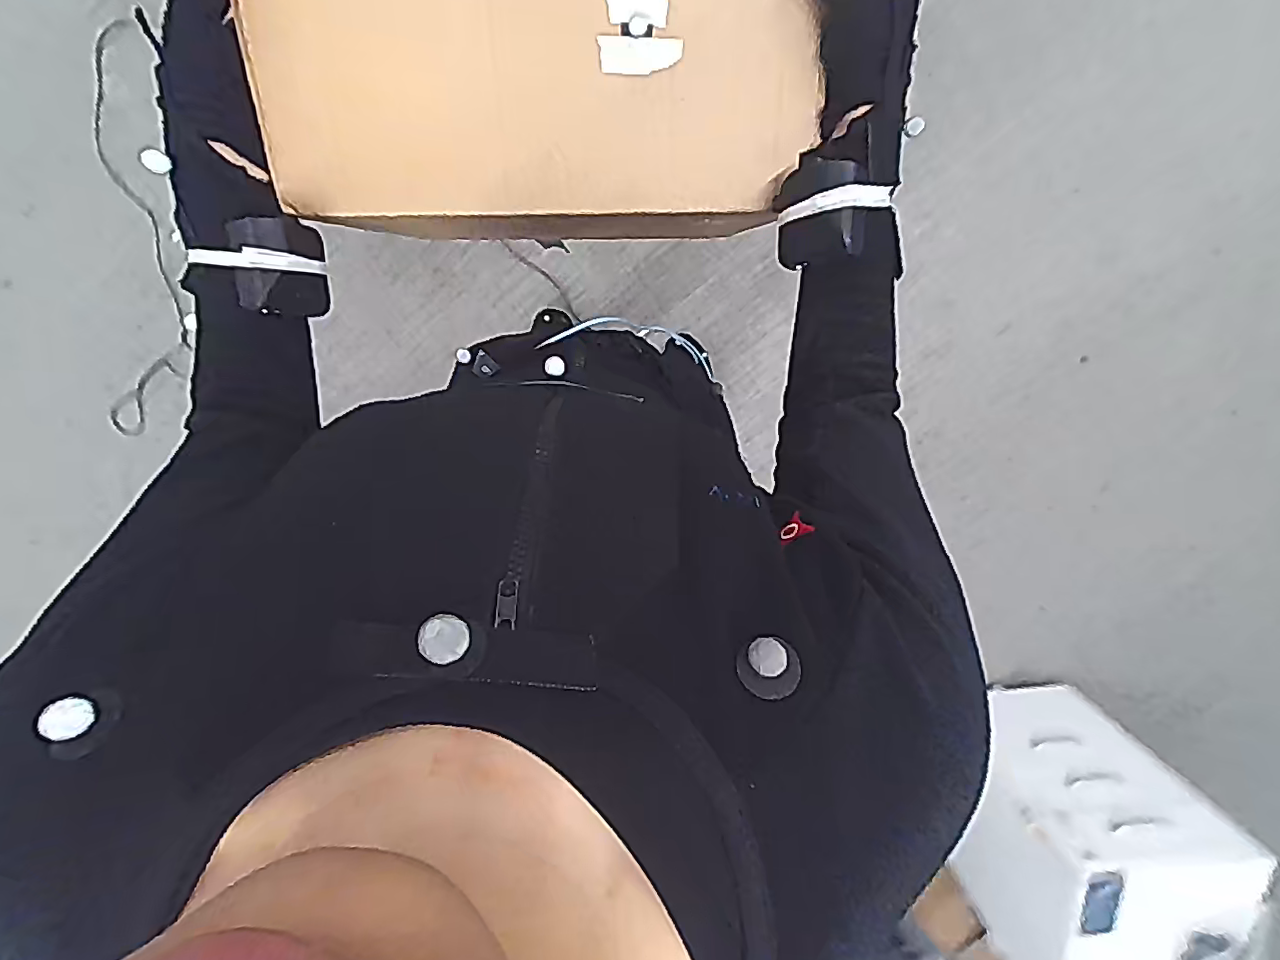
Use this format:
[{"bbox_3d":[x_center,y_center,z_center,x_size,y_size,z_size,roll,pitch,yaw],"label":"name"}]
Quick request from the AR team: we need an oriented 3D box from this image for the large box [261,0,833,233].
[{"bbox_3d":[-0.071,-0.413,0.505,0.408,0.320,0.320,-2,112,-4],"label":"large box"}]
